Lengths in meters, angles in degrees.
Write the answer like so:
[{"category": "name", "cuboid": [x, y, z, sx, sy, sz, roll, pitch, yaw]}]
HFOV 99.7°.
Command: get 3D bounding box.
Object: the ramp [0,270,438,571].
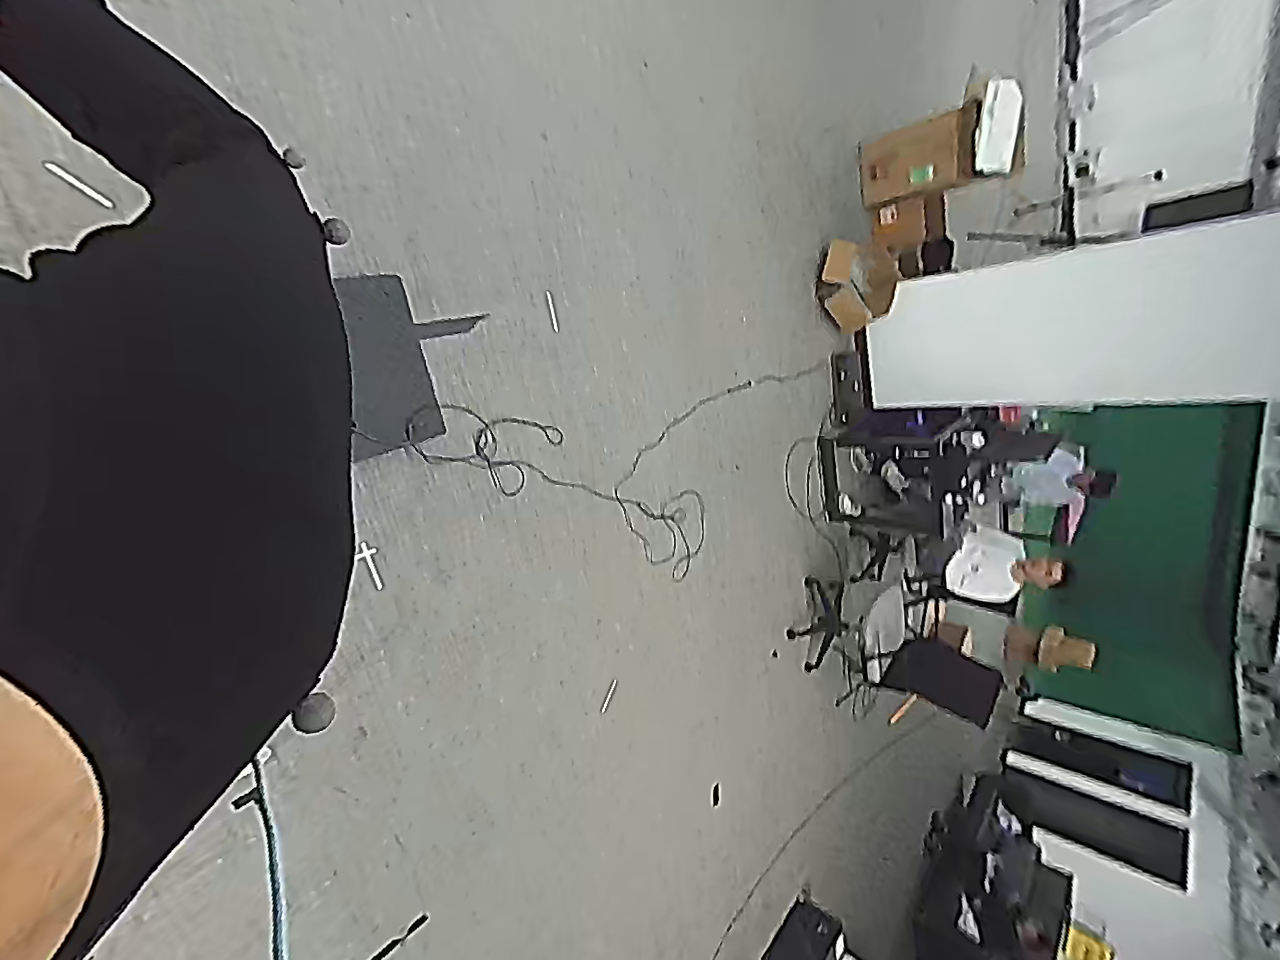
[{"category": "ramp", "cuboid": [-0.967, -0.227, 1.288, 0.991, 0.206, 0.509, -29, 112, -40]}]
